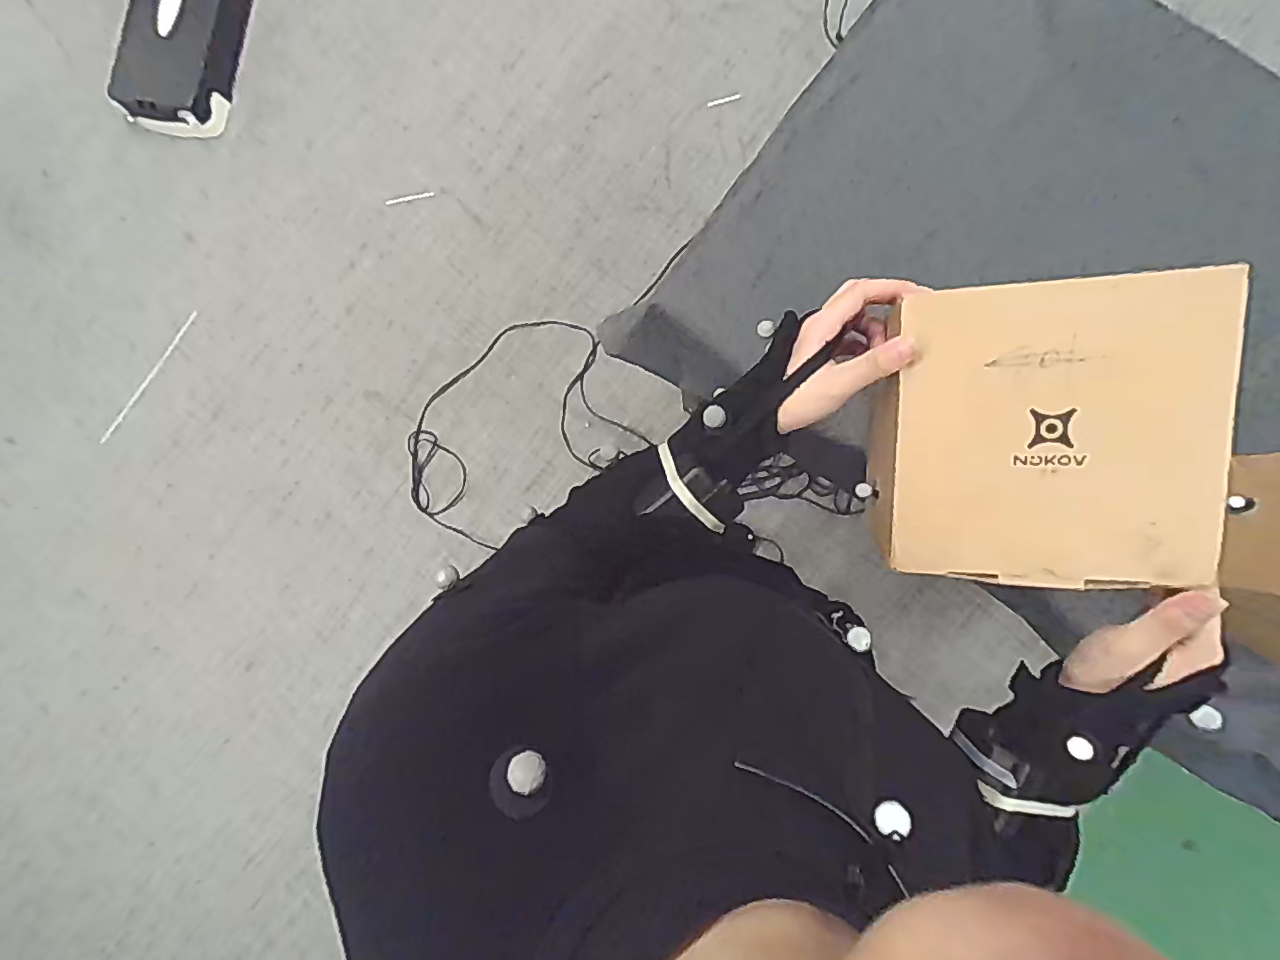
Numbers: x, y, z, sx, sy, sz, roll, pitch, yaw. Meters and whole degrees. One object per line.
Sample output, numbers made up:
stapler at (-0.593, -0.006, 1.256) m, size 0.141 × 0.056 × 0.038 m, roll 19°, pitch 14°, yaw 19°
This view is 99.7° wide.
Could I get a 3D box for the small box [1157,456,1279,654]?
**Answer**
small box at (0.667, 0.080, 0.503) m, size 0.179 × 0.176 × 0.168 m, roll 35°, pitch 91°, yaw 7°
